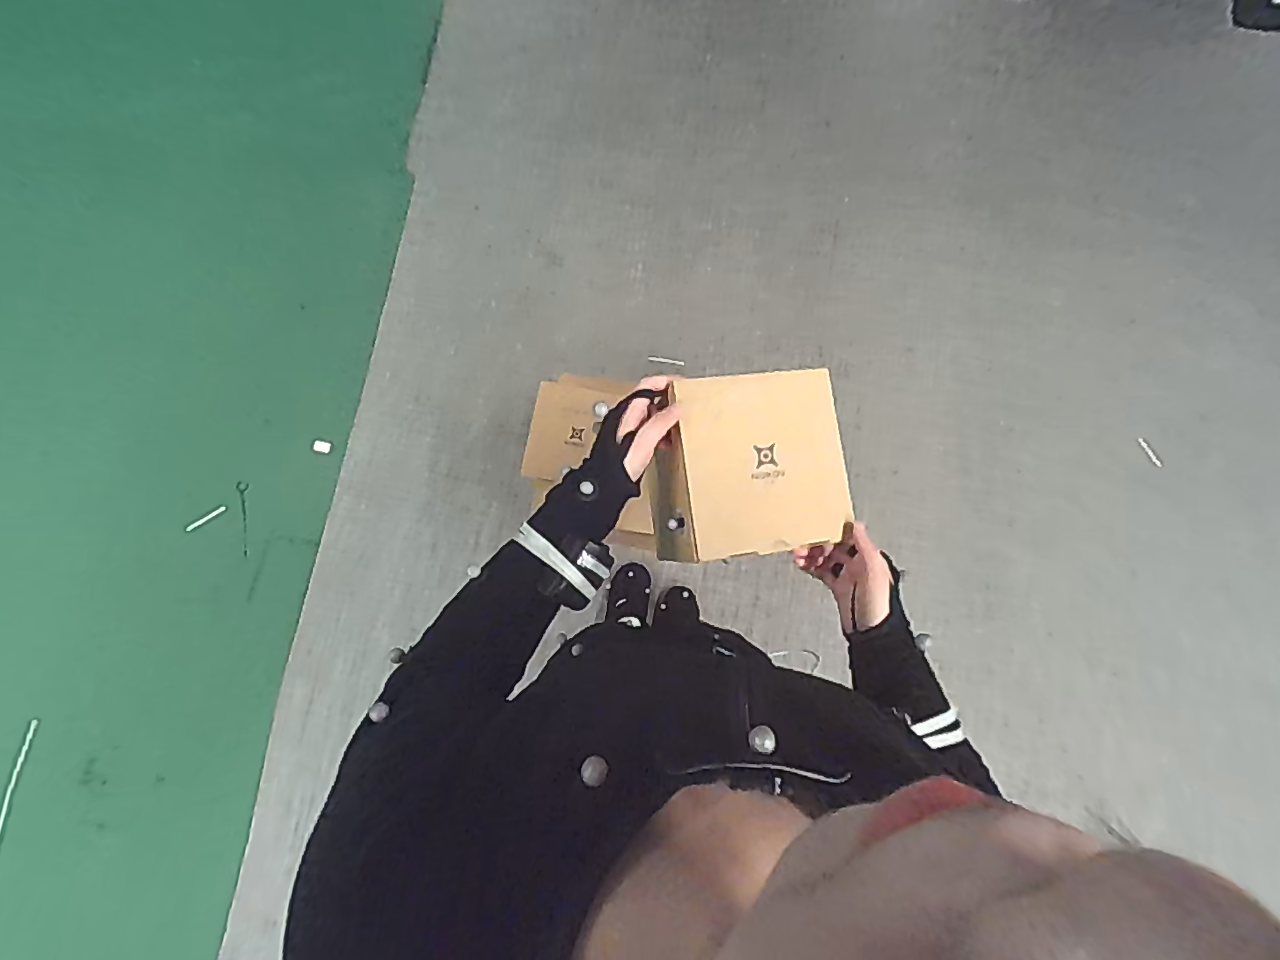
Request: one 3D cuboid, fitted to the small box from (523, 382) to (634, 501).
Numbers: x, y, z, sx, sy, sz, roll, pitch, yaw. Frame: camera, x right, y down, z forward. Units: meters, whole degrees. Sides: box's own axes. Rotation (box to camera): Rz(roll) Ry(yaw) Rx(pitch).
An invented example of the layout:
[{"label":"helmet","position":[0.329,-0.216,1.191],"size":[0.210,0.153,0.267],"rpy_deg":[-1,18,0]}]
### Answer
[{"label":"small box","position":[-0.105,-0.062,1.010],"size":[0.168,0.176,0.179],"rpy_deg":[11,82,0]}]
